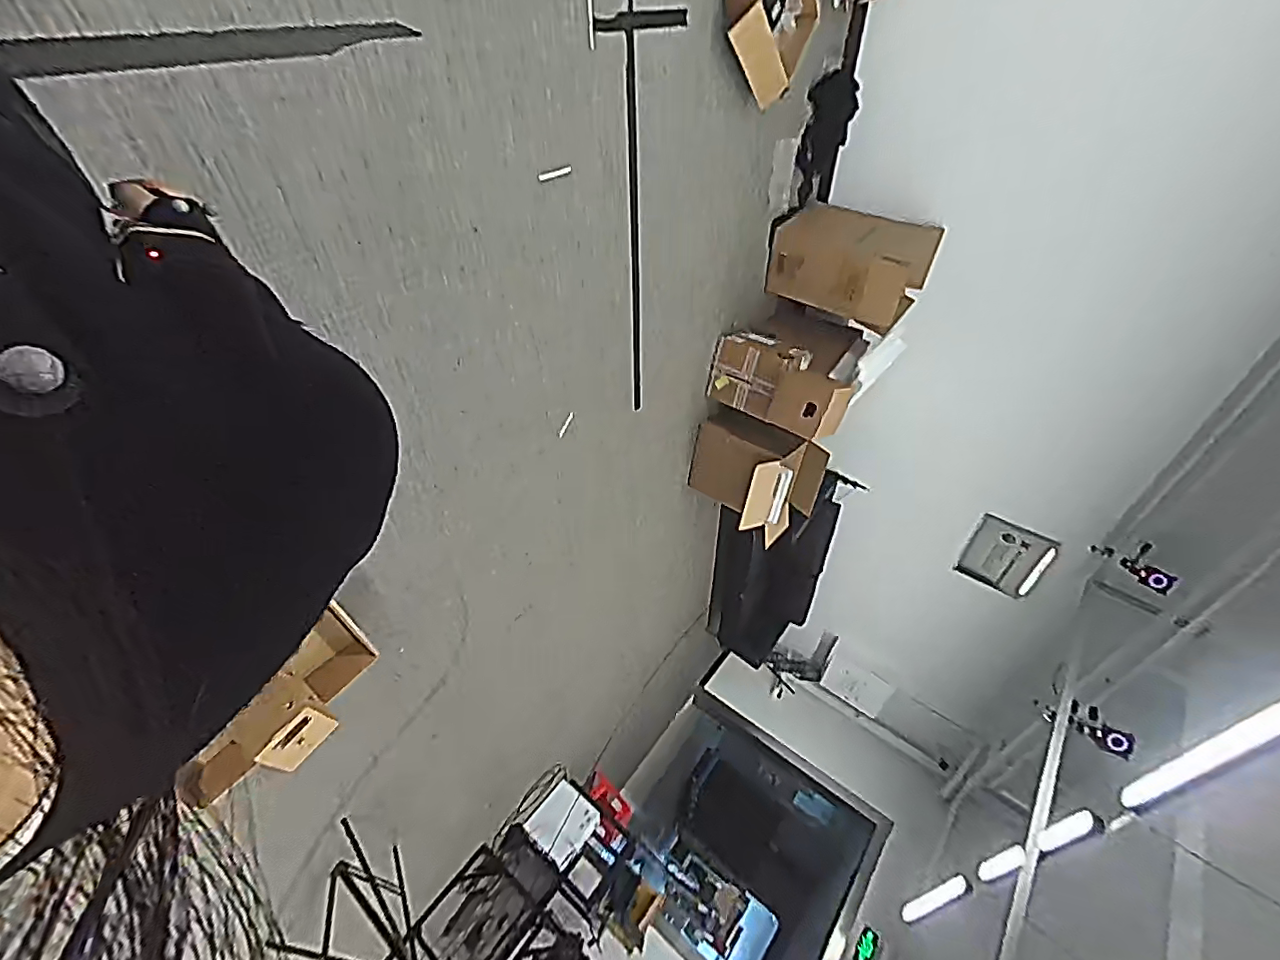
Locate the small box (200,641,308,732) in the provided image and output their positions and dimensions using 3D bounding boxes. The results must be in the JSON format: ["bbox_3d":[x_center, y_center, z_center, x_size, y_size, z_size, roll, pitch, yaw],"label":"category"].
[{"bbox_3d":[-1.151,0.613,1.616,0.168,0.176,0.179,-48,149,-27],"label":"small box"}]
